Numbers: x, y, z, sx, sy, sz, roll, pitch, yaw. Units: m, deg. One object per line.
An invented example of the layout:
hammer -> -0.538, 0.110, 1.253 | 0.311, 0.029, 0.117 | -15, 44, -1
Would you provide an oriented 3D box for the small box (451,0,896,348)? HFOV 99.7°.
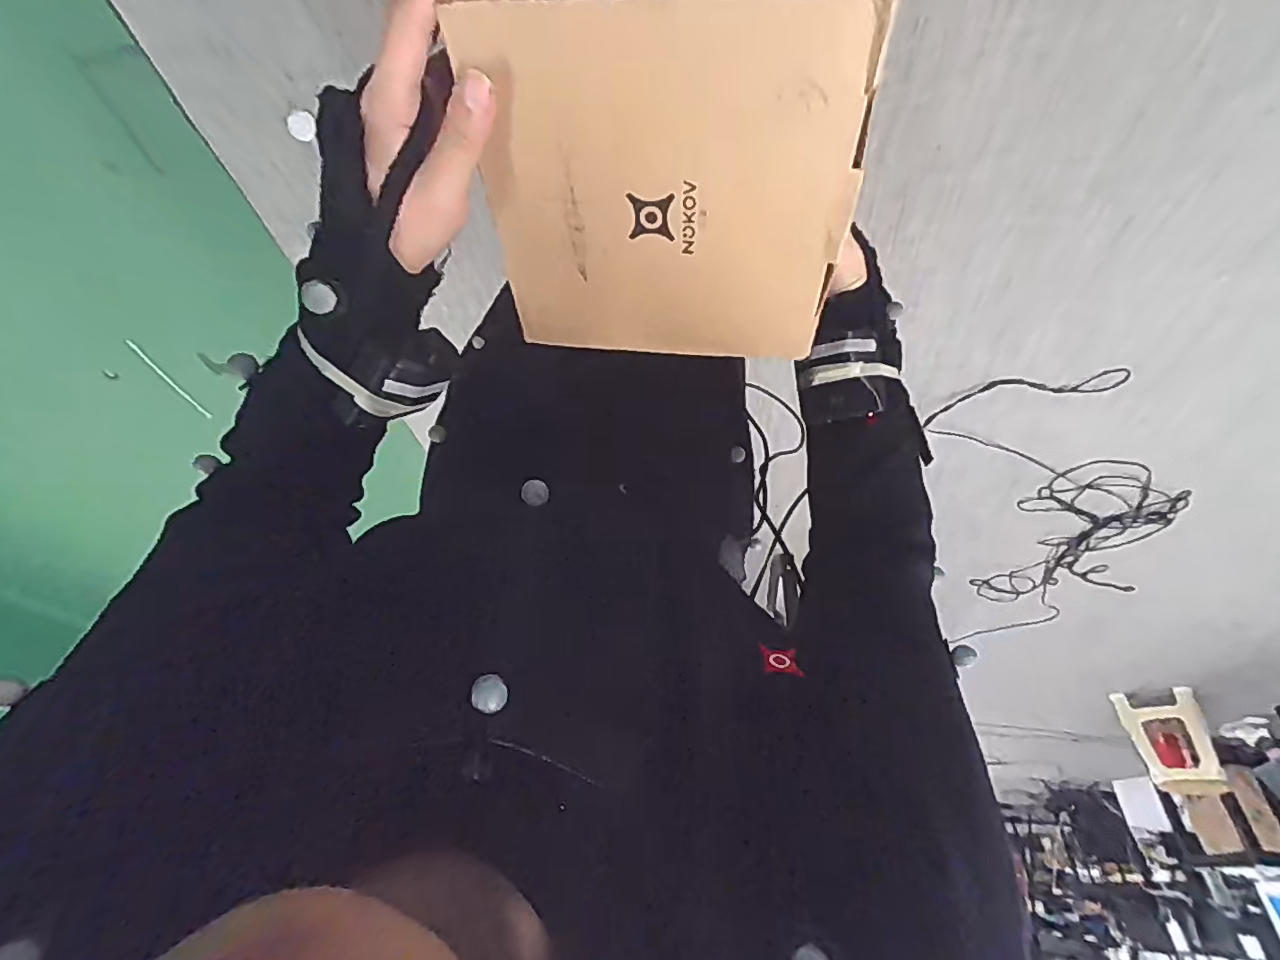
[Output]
small box -> 0.024, -0.199, 0.315 | 0.179, 0.176, 0.168 | 6, 142, 9
